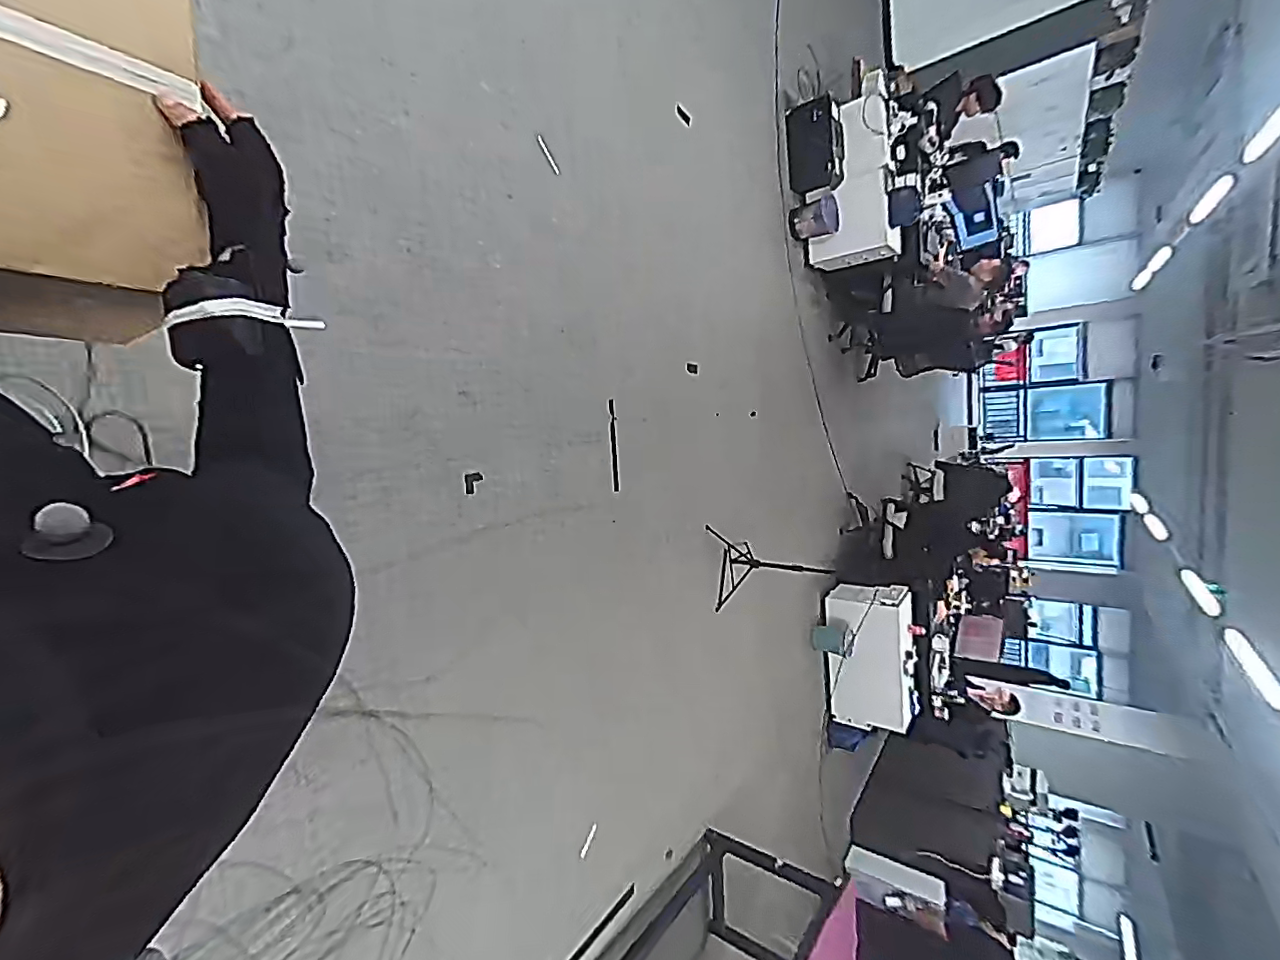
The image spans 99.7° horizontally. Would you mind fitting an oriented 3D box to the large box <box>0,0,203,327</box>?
[{"bbox_3d":[-0.606,-0.306,0.369,0.408,0.320,0.320,-6,98,-54],"label":"large box"}]
